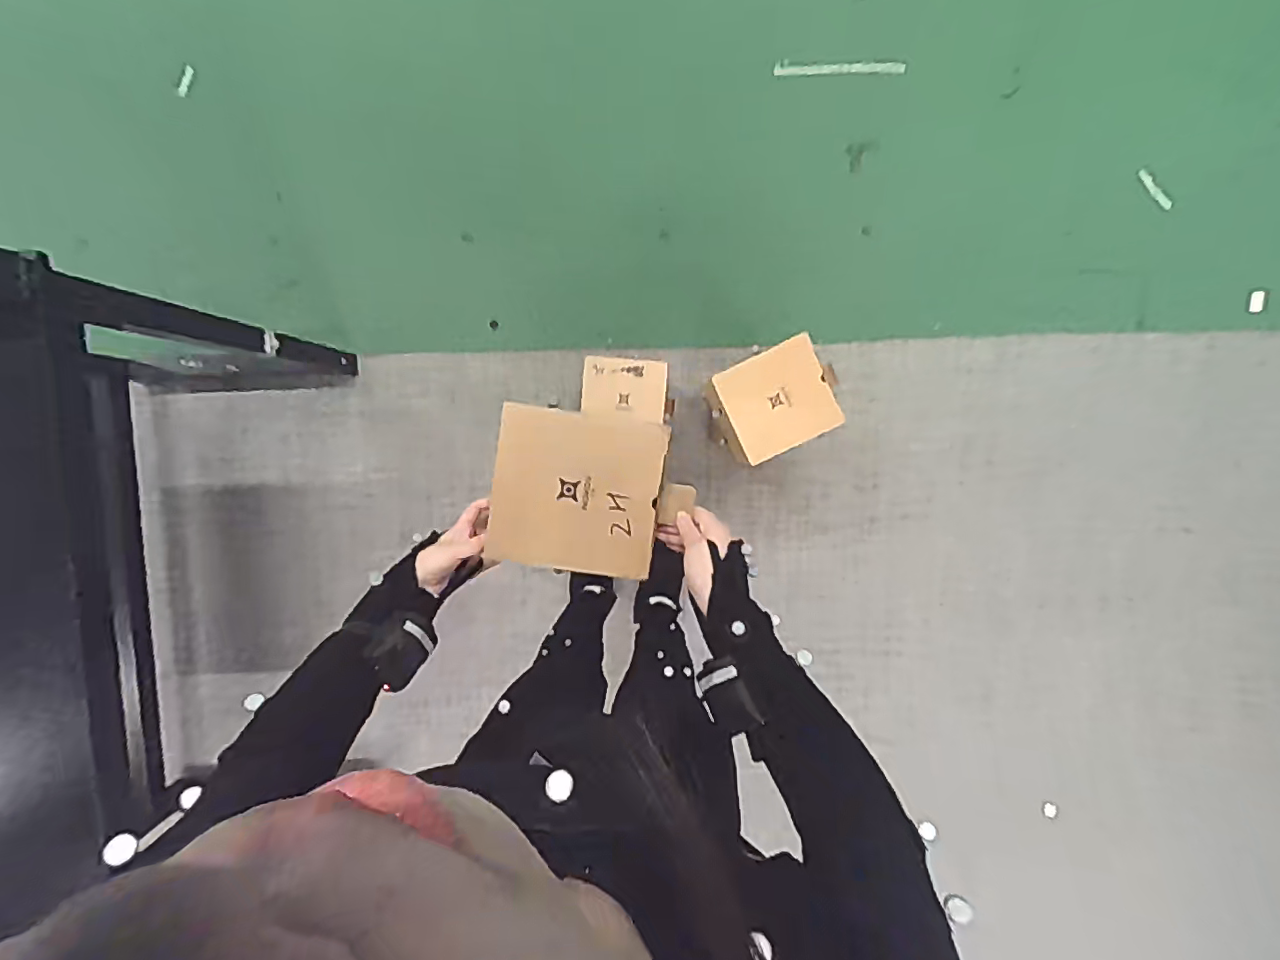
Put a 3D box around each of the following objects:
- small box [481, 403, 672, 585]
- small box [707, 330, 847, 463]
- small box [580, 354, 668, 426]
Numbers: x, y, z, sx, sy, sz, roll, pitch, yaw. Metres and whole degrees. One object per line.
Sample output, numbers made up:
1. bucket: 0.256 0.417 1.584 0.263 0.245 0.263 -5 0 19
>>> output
1. small box: -0.066 0.009 0.624 0.179 0.176 0.168 8 95 -2
2. small box: 0.229 -0.140 0.958 0.179 0.176 0.168 -26 95 3
3. small box: -0.030 -0.157 1.125 0.168 0.176 0.179 5 95 2
